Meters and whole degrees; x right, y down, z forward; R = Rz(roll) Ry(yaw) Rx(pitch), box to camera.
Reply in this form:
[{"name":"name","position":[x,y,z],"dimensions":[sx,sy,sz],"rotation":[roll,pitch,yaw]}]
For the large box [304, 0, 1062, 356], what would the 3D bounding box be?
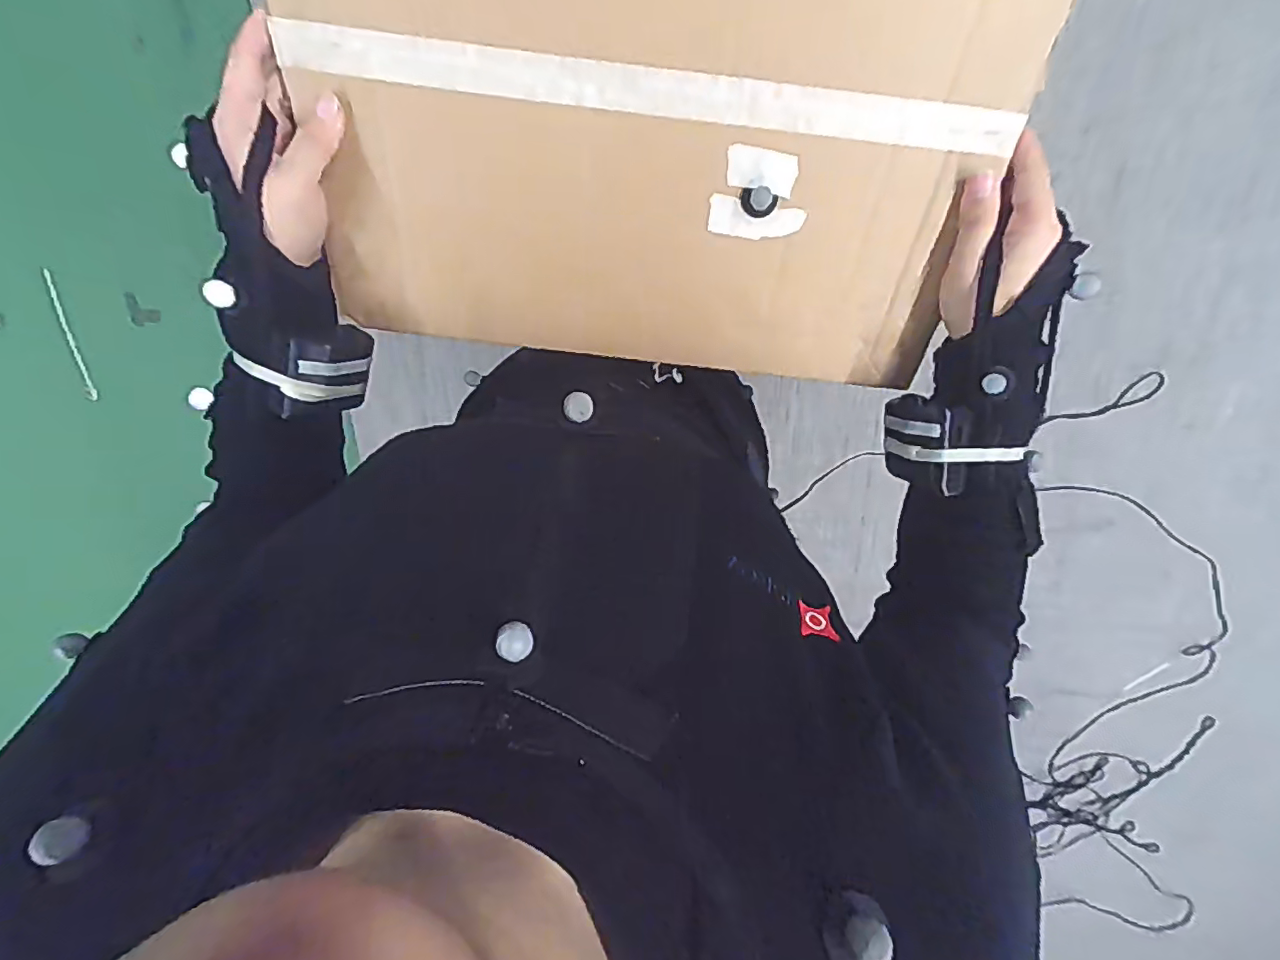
[{"name":"large box","position":[0.017,-0.314,0.422],"dimensions":[0.408,0.320,0.320],"rotation":[5,126,-3]}]
